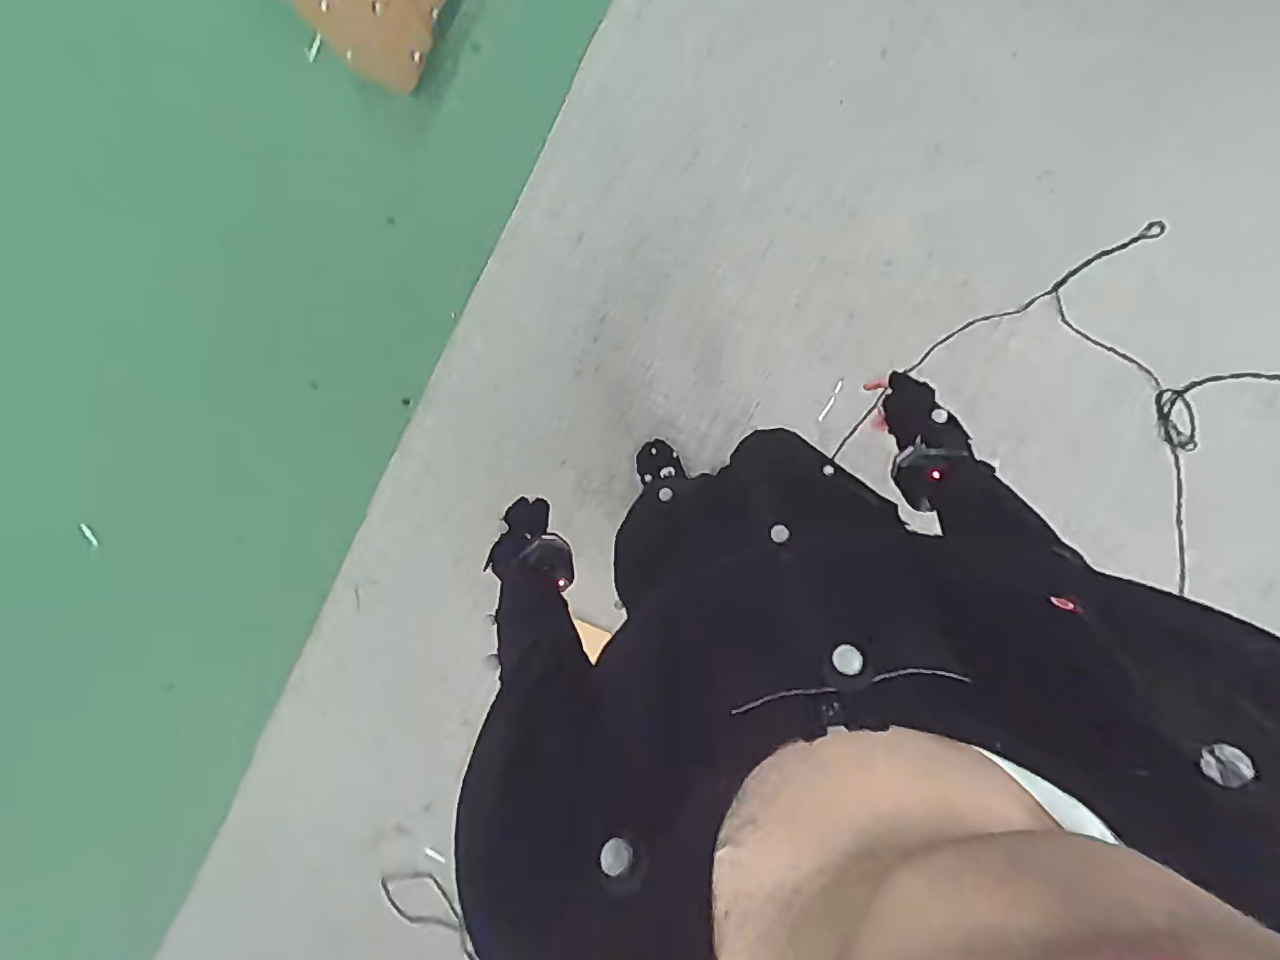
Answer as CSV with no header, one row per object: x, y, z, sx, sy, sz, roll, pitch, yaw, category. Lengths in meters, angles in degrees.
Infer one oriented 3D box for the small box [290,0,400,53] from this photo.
-0.666,-1.091,1.181,0.179,0.176,0.168,24,94,0,small box
